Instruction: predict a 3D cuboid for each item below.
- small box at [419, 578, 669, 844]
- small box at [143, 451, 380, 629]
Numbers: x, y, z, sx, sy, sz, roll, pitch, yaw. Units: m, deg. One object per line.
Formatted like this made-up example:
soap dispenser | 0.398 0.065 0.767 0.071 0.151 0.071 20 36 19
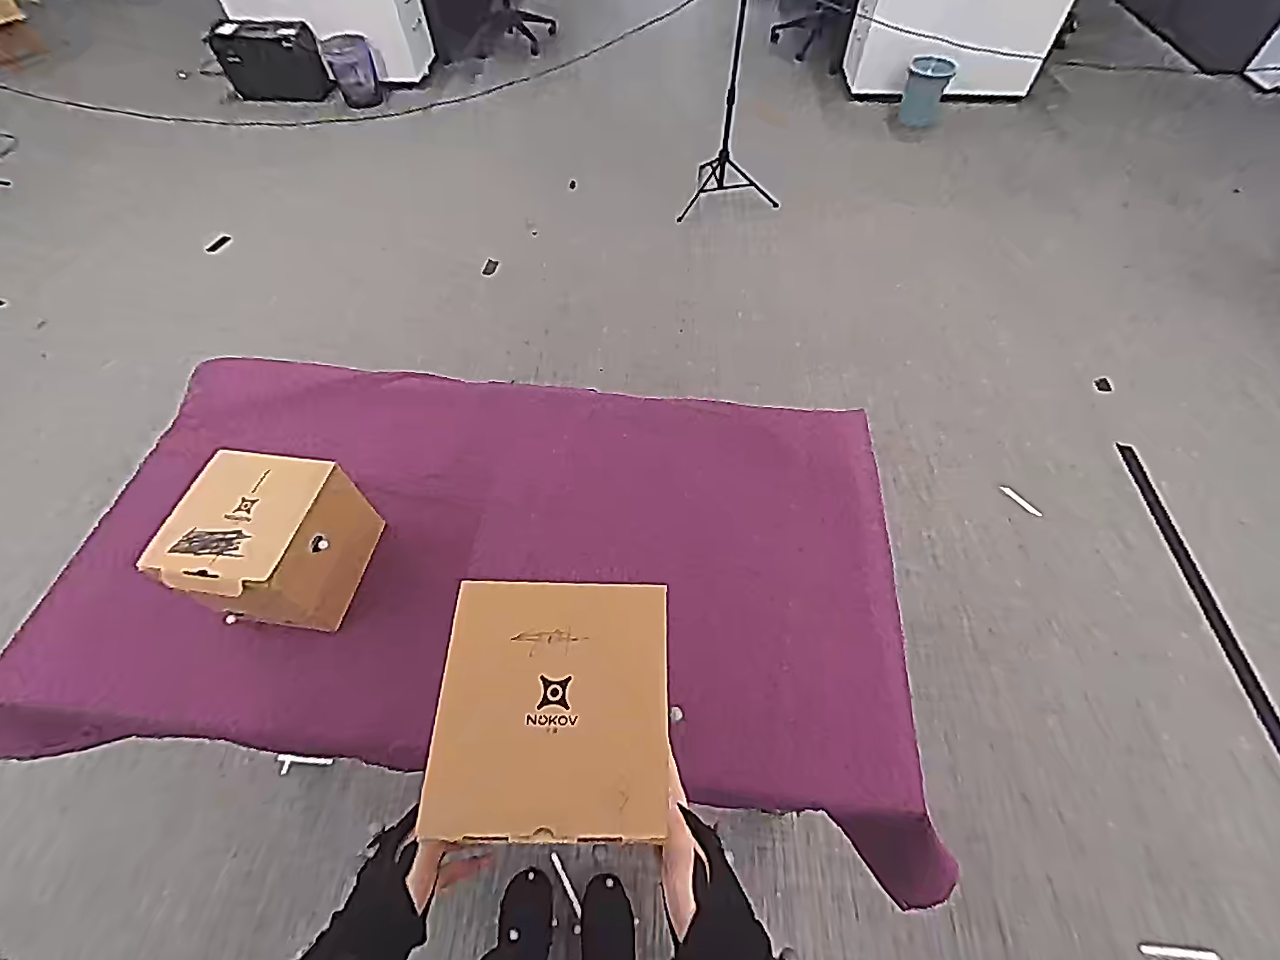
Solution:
small box | -0.064 0.198 0.463 0.168 0.176 0.179 3 59 -1
small box | -0.485 0.086 0.731 0.168 0.176 0.179 7 56 4
